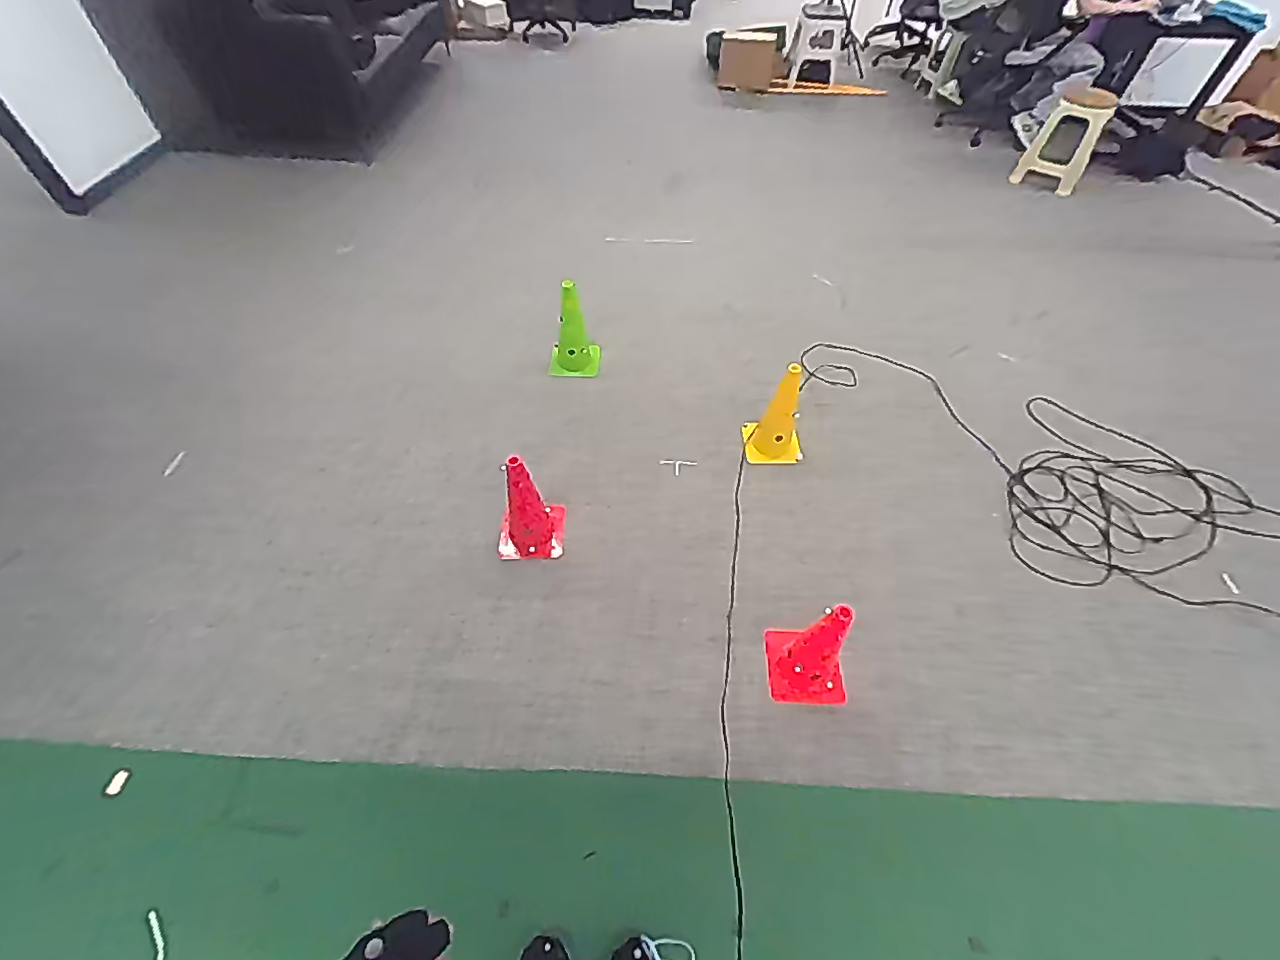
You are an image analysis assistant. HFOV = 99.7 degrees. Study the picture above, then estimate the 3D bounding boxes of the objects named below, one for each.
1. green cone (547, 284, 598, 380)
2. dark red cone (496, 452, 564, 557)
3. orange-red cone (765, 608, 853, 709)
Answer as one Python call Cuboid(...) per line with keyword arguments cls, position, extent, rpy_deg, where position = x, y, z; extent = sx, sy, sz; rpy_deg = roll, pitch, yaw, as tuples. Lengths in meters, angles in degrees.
Cuboid(cls="green cone", position=(-0.273, -0.591, 2.111), extent=(0.202, 0.368, 0.200), rpy_deg=(2, 52, -1))
Cuboid(cls="dark red cone", position=(-0.340, 0.056, 1.568), extent=(0.202, 0.394, 0.201), rpy_deg=(-2, 53, -3))
Cuboid(cls="orange-red cone", position=(0.448, 0.407, 1.338), extent=(0.198, 0.360, 0.199), rpy_deg=(3, 51, 0))
